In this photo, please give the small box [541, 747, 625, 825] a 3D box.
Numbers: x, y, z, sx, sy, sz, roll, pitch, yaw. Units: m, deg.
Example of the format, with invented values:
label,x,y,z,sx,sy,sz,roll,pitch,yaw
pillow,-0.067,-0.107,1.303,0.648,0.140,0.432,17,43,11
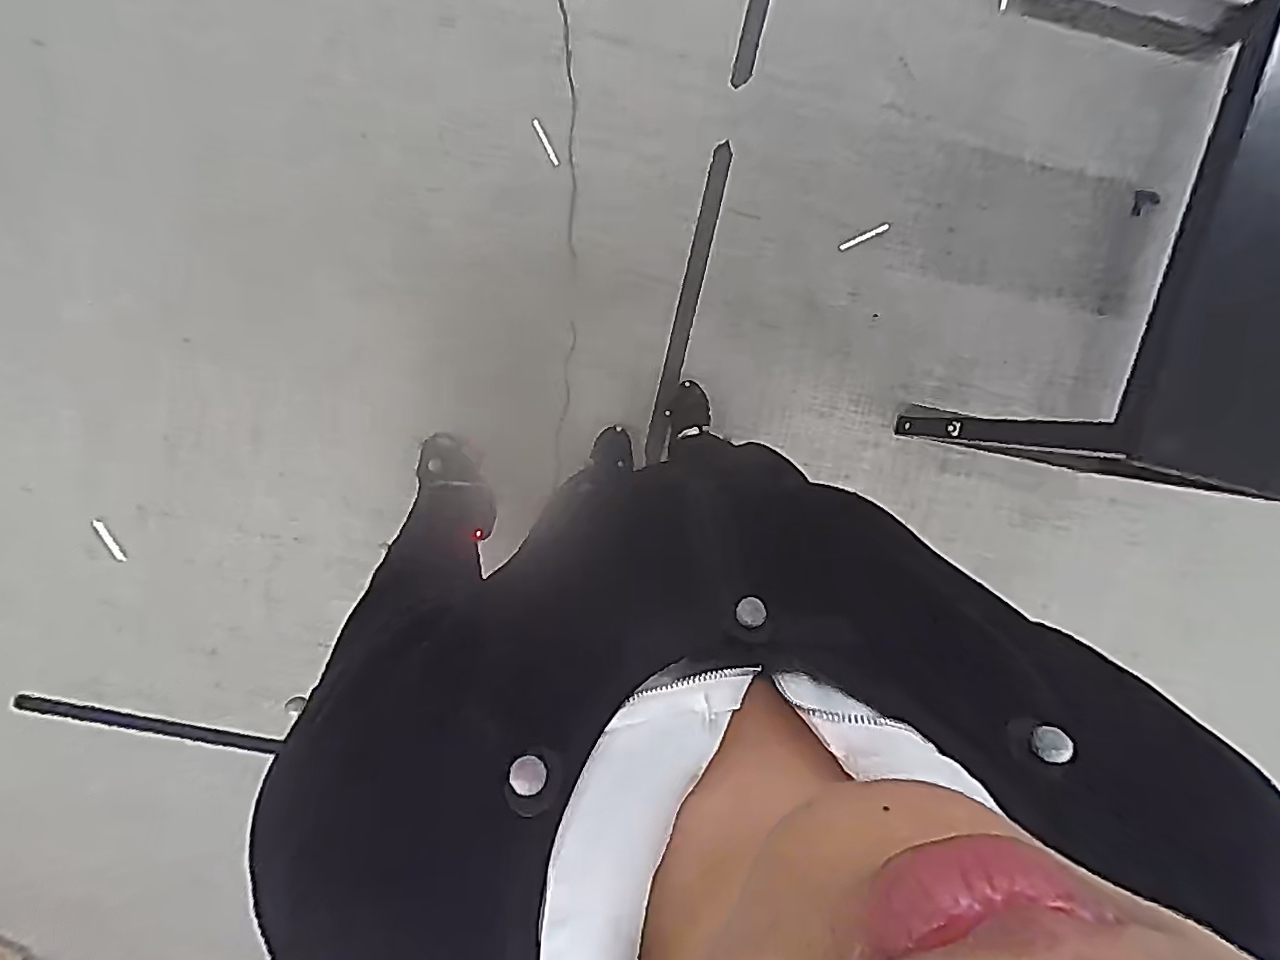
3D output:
label,x,y,z,sx,sy,sz,roll,pitch,yaw
small box,-0.126,0.718,1.171,0.168,0.176,0.179,10,97,-2
